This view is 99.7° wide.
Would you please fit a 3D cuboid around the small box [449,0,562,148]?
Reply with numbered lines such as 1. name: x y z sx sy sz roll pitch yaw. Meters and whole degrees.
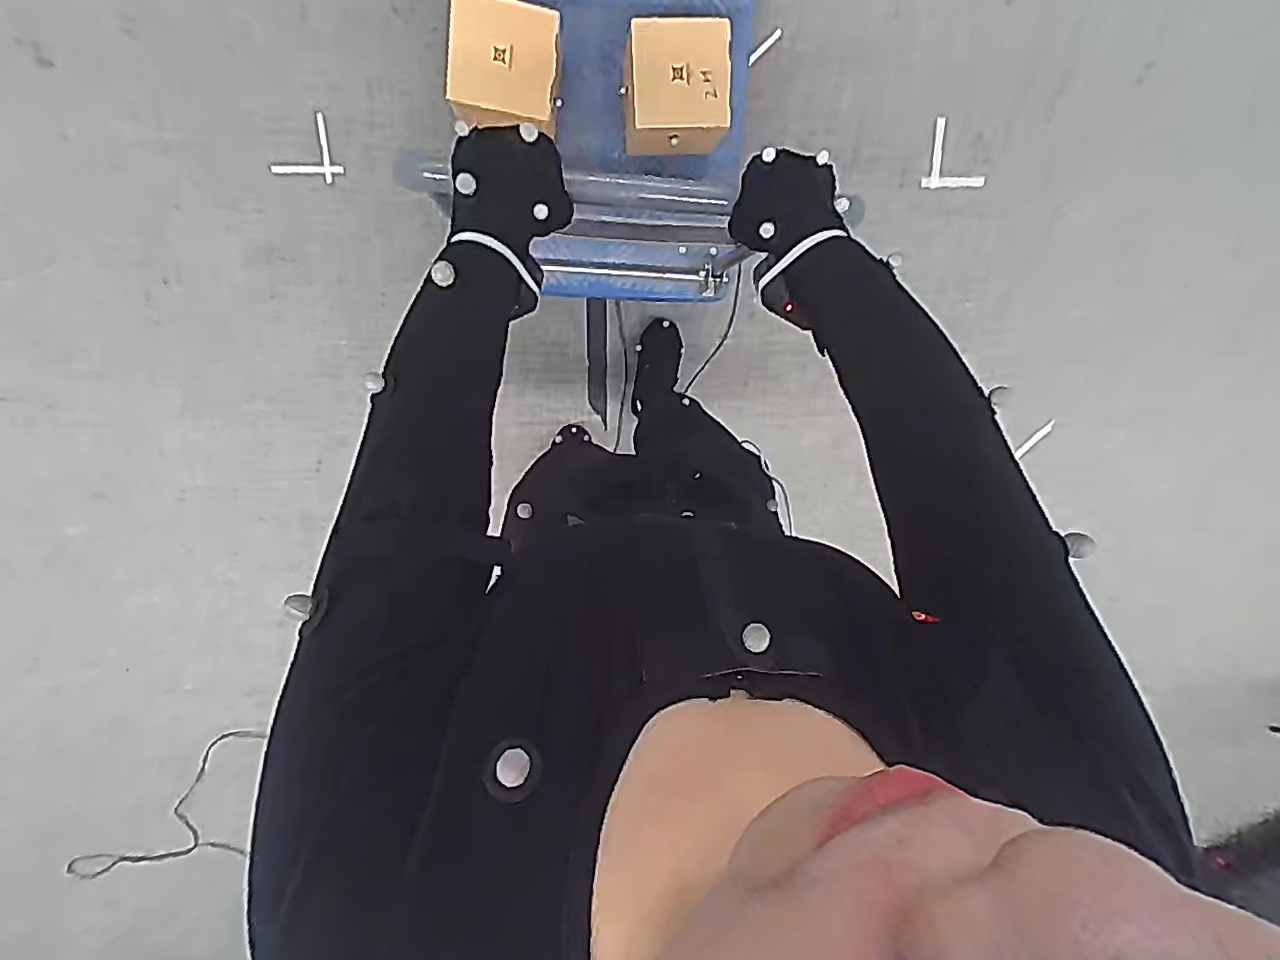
1. small box: -0.240 -0.735 0.989 0.179 0.176 0.168 6 105 -10

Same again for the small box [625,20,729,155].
1. small box: 0.064 -0.734 1.028 0.179 0.176 0.168 -5 107 -6
